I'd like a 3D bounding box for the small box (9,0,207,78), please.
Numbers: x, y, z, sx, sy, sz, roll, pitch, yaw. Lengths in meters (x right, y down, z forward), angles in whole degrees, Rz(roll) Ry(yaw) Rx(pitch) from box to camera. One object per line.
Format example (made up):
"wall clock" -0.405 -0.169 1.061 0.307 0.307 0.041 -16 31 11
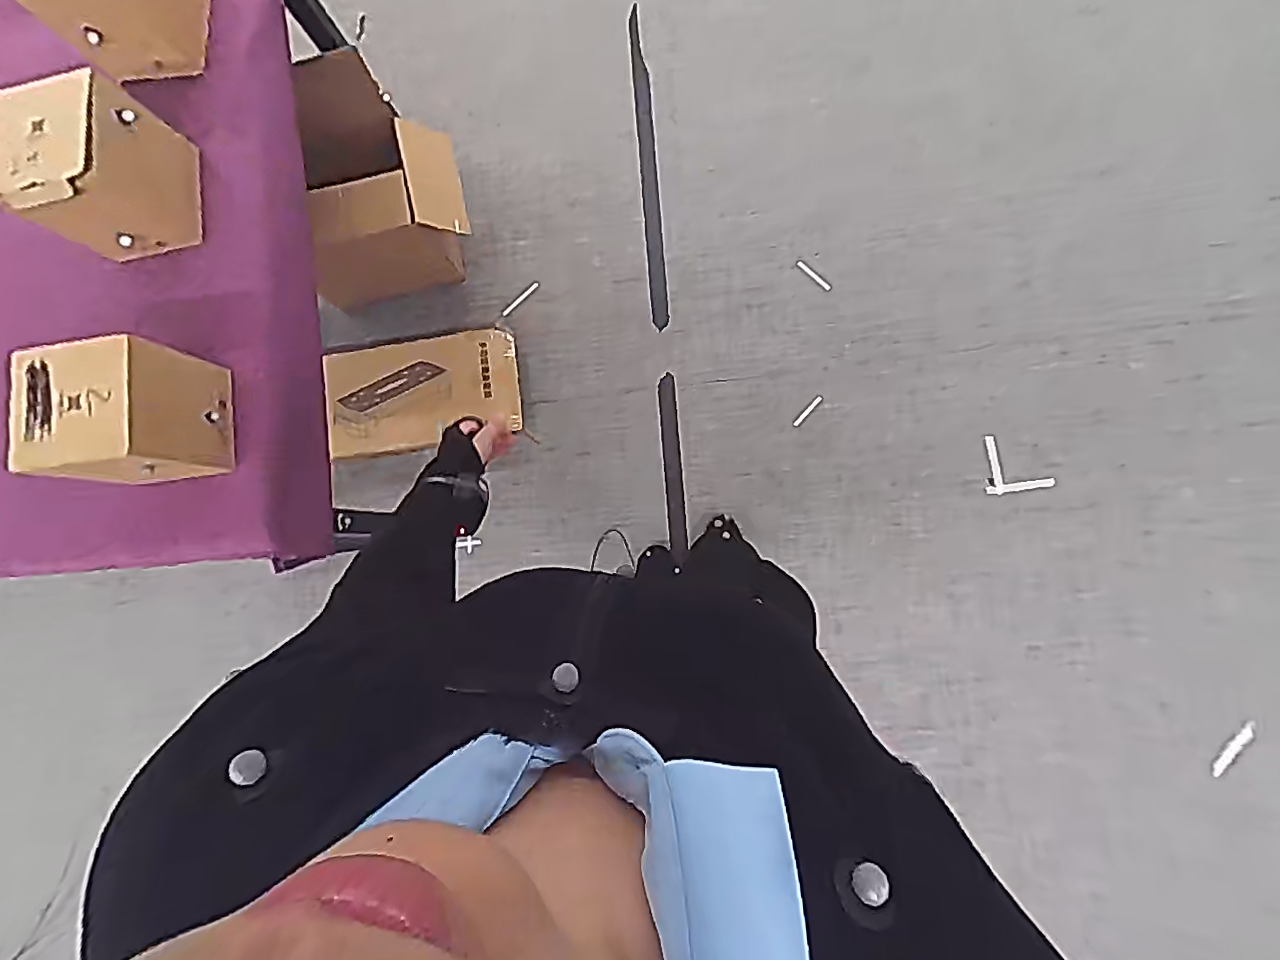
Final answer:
"small box" -0.845 -0.786 0.869 0.168 0.176 0.179 -1 83 5

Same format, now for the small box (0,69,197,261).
"small box" -0.828 -0.470 0.831 0.168 0.176 0.179 -8 83 7
